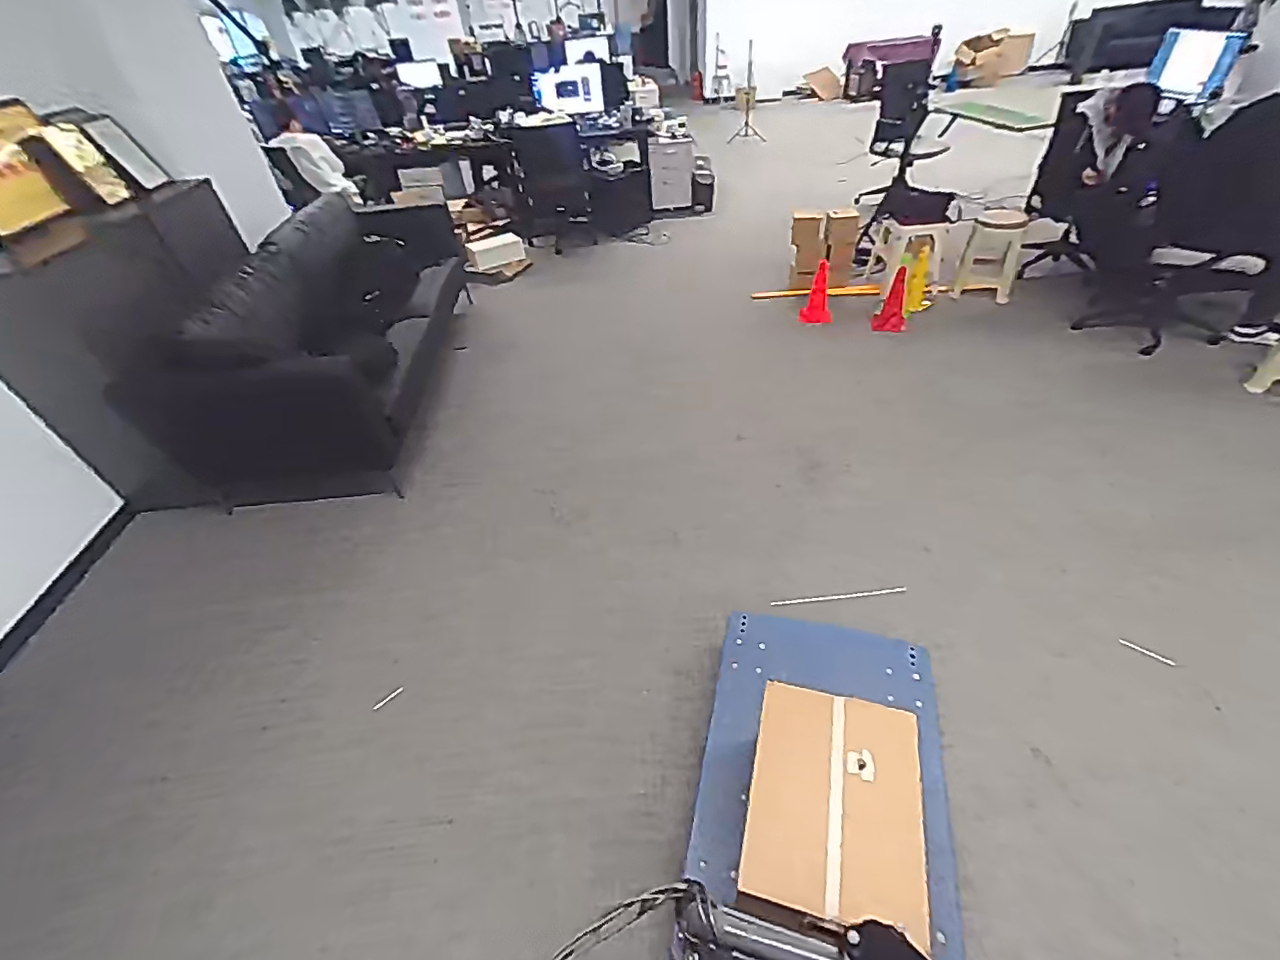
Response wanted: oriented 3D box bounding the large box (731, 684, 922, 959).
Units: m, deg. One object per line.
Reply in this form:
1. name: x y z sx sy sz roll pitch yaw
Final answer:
1. large box: 0.377 0.724 1.149 0.320 0.320 0.408 9 43 15
